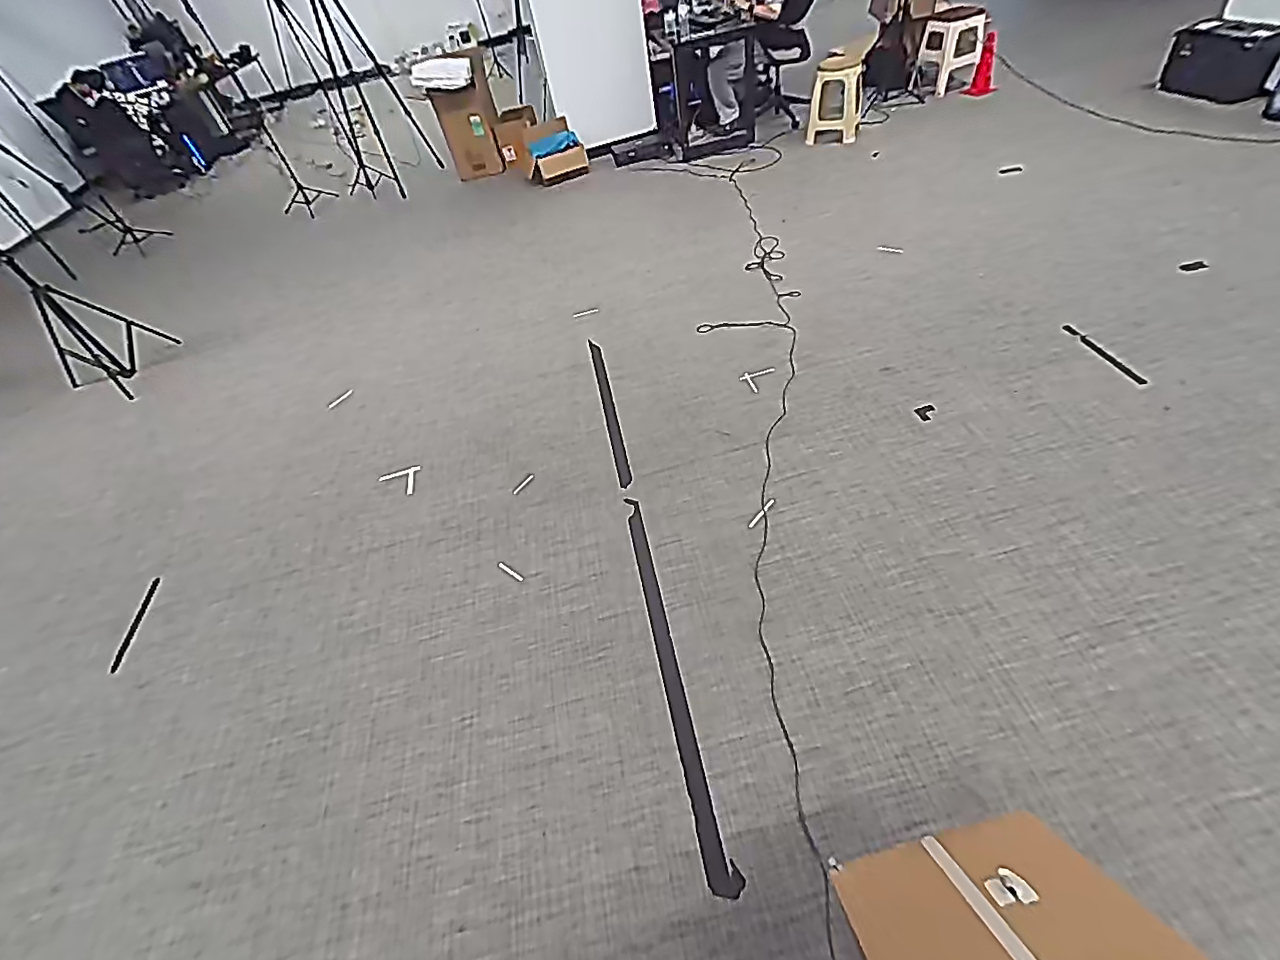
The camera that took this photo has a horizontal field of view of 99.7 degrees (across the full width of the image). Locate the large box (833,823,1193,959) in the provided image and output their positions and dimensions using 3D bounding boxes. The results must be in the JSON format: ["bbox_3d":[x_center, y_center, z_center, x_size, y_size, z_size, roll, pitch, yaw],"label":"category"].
[{"bbox_3d":[0.476,0.689,0.609,0.320,0.408,0.320,-17,84,1],"label":"large box"}]
